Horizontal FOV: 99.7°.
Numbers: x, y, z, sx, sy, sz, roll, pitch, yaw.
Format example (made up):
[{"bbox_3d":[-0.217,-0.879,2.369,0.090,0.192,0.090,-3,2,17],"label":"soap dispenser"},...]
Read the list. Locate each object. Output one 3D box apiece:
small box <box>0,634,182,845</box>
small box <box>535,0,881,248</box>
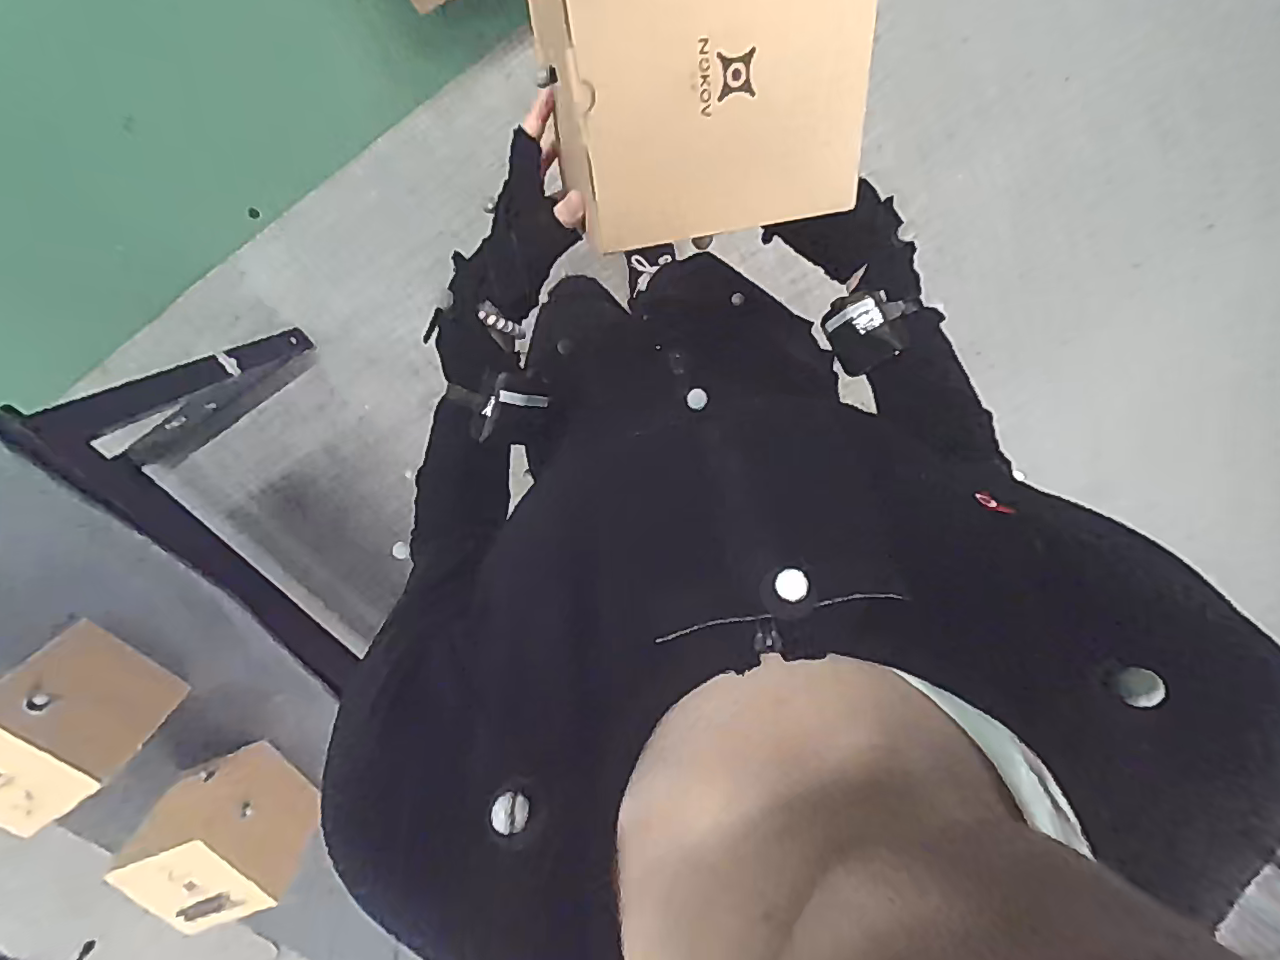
[{"bbox_3d":[-0.796,0.335,0.729,0.168,0.176,0.179,-33,113,10],"label":"small box"},{"bbox_3d":[0.034,-0.274,0.365,0.179,0.176,0.168,-13,127,-6],"label":"small box"}]
